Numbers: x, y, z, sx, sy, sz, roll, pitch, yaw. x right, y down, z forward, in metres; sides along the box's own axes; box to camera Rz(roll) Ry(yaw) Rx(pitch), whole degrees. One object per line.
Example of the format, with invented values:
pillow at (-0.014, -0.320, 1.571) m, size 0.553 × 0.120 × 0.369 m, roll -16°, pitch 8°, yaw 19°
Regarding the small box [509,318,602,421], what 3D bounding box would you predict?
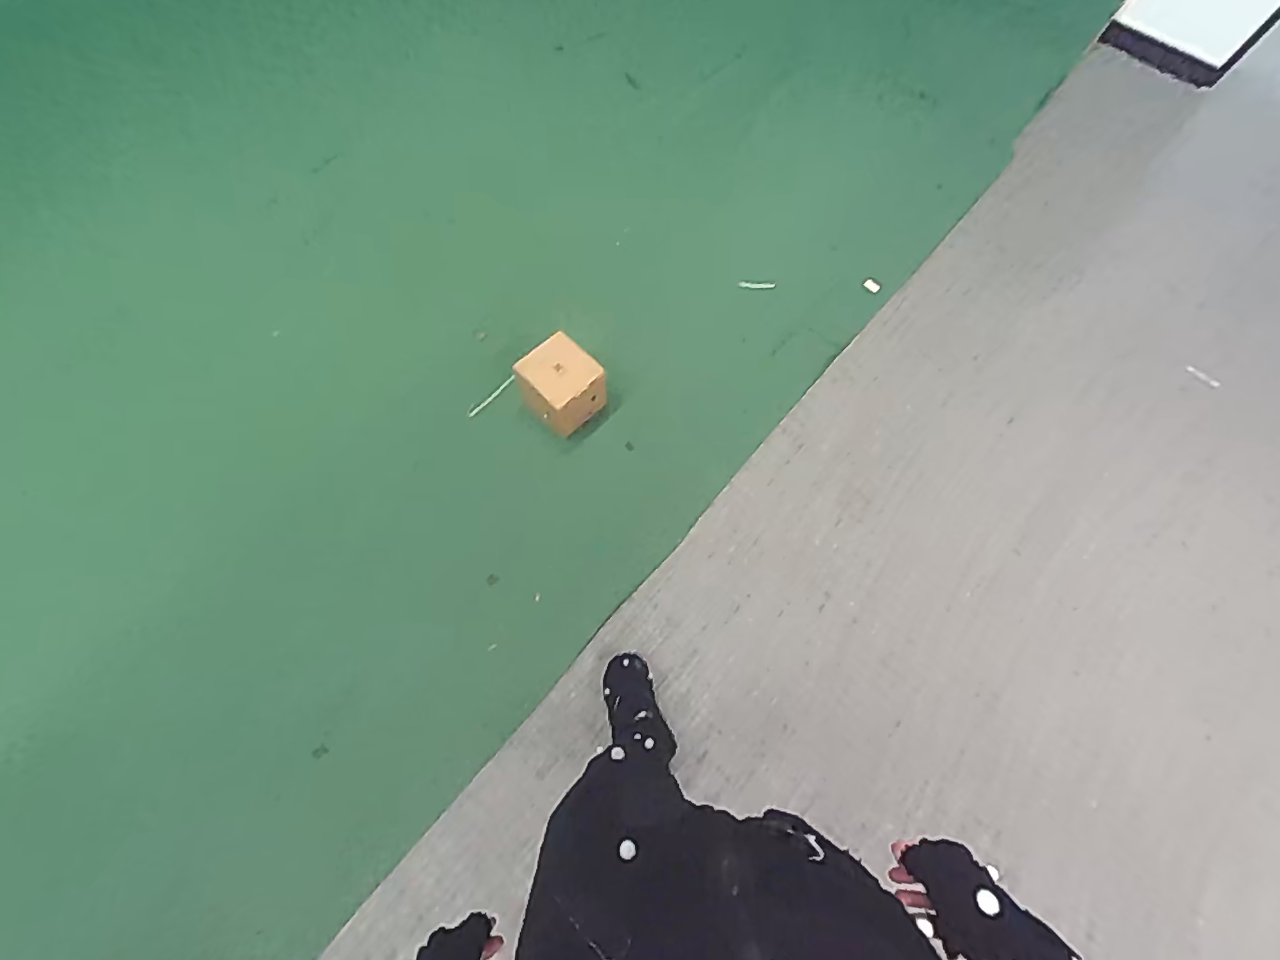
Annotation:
small box at (-0.215, -0.278, 1.415) m, size 0.168 × 0.176 × 0.179 m, roll -40°, pitch 76°, yaw -19°
